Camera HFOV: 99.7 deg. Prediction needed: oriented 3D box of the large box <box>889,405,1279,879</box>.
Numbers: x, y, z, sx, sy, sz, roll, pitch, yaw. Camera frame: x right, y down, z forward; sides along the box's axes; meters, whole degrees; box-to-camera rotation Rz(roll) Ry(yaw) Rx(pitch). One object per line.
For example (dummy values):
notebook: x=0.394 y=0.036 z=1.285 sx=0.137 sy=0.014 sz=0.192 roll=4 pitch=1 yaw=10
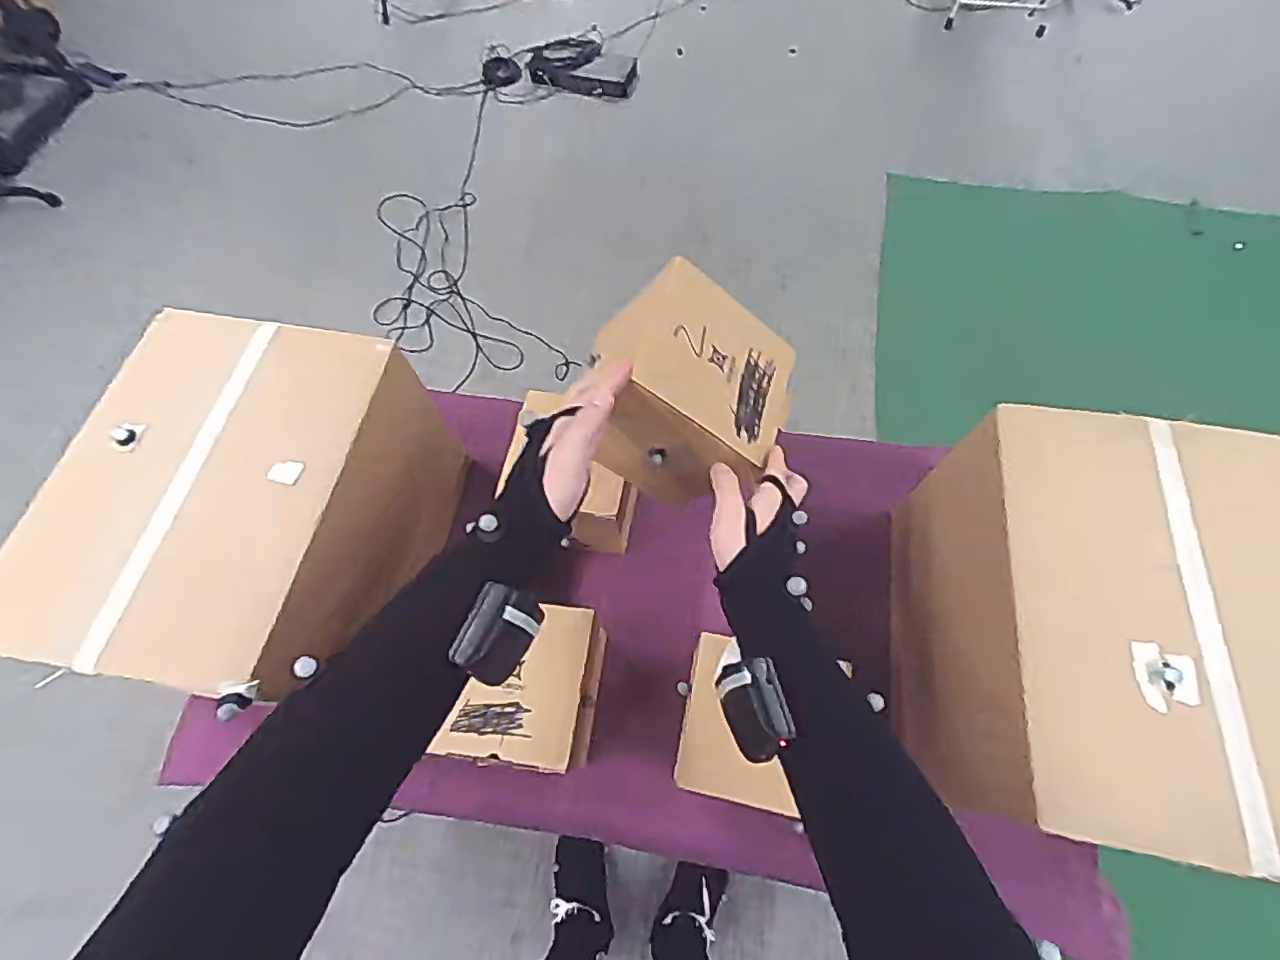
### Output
large box: x=0.502 y=0.177 z=0.622 sx=0.320 sy=0.320 sz=0.408 roll=8 pitch=67 yaw=7
